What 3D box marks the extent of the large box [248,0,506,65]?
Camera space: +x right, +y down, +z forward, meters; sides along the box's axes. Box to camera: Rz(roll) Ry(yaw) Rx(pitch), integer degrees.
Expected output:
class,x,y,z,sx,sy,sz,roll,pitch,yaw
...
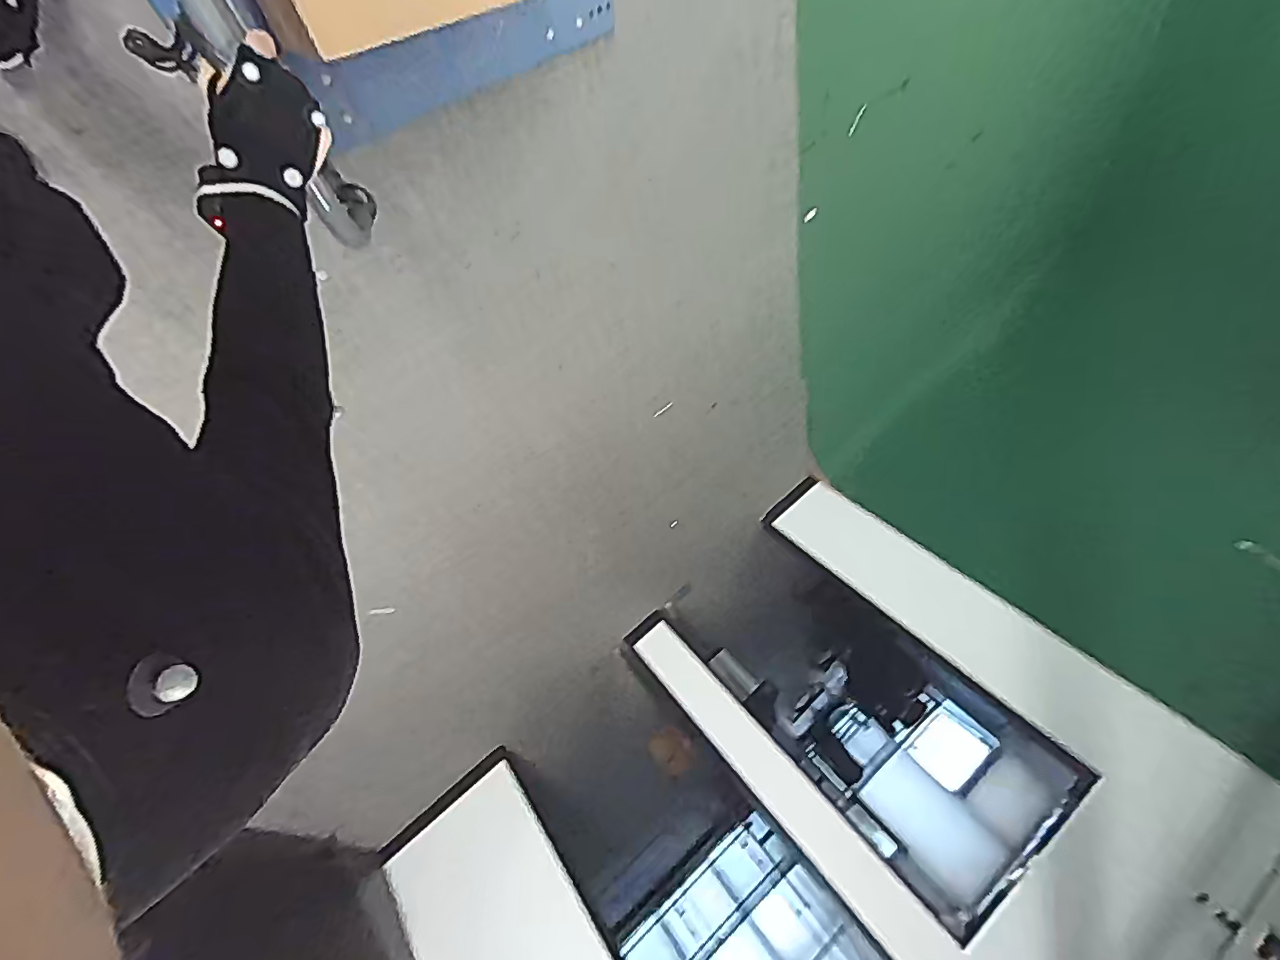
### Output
class,x,y,z,sx,sy,sz,roll,pitch,yaw
large box,-0.448,-0.905,0.845,0.408,0.320,0.320,-35,141,-18
